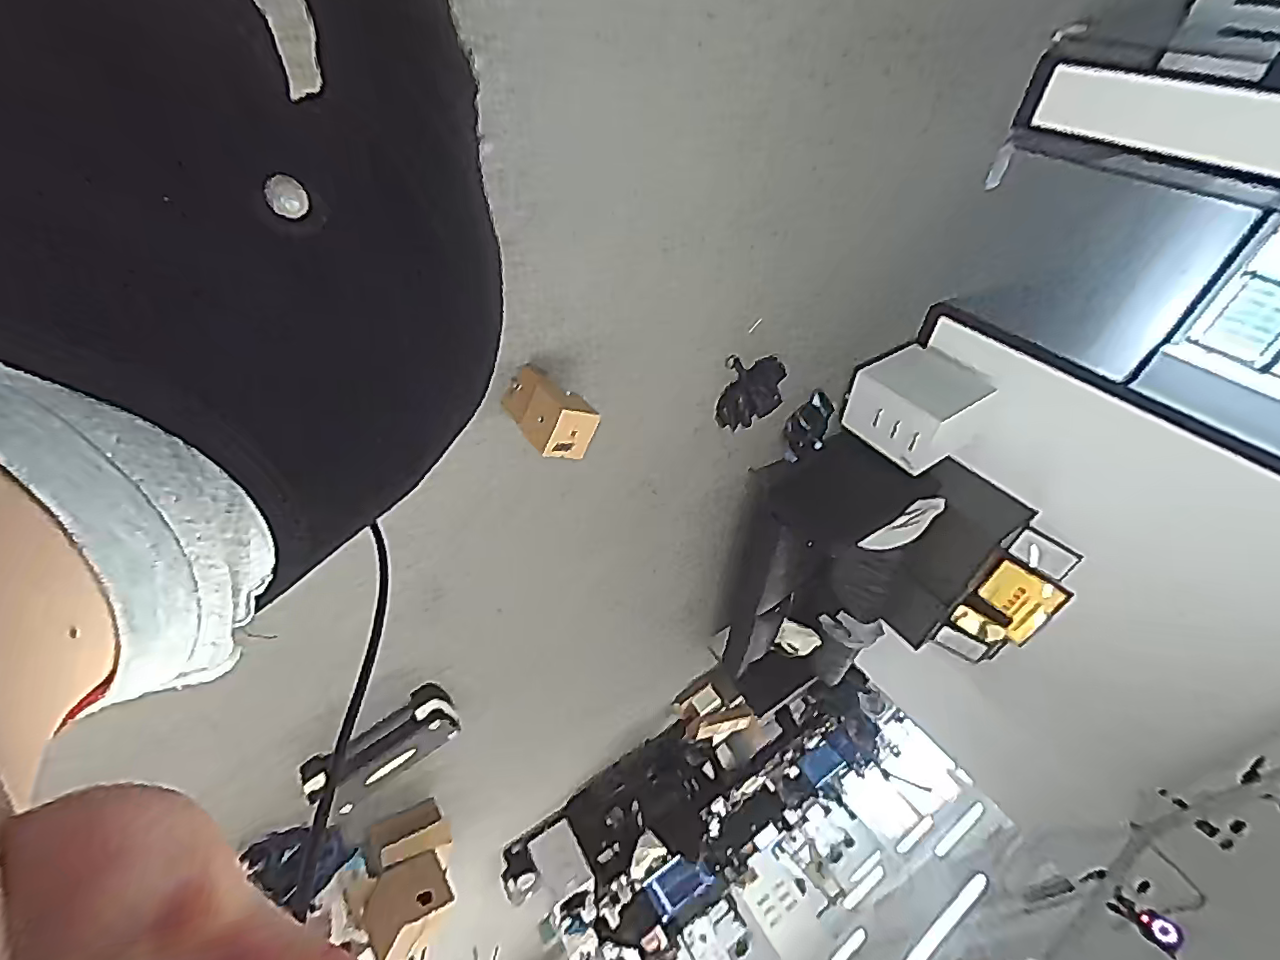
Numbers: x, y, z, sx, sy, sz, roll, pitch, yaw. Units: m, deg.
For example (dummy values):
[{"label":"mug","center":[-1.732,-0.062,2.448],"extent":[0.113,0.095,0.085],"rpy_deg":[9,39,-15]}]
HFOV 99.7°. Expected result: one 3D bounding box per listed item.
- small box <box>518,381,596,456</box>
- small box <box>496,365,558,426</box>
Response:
[{"label":"small box","center":[-0.280,-0.200,1.781],"extent":[0.168,0.176,0.179],"rpy_deg":[3,123,-47]},{"label":"small box","center":[-0.370,-0.279,1.897],"extent":[0.179,0.176,0.168],"rpy_deg":[21,110,-51]}]
